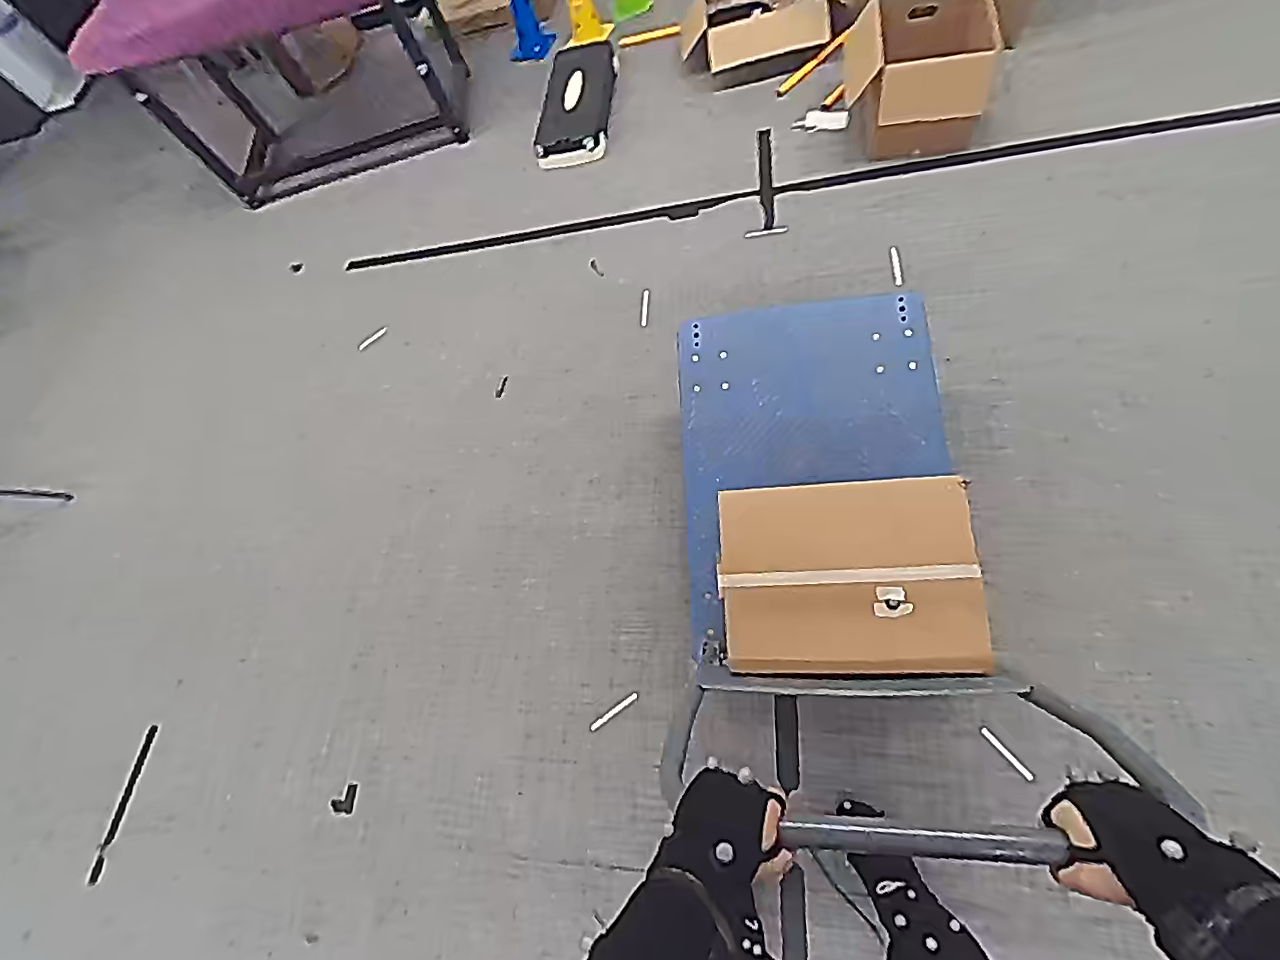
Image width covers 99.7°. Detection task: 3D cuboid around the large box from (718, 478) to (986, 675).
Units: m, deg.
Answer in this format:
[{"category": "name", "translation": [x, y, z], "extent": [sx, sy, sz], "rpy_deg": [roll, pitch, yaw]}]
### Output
[{"category": "large box", "translation": [0.373, 0.192, 1.057], "extent": [0.408, 0.320, 0.320], "rpy_deg": [-4, 79, 11]}]
